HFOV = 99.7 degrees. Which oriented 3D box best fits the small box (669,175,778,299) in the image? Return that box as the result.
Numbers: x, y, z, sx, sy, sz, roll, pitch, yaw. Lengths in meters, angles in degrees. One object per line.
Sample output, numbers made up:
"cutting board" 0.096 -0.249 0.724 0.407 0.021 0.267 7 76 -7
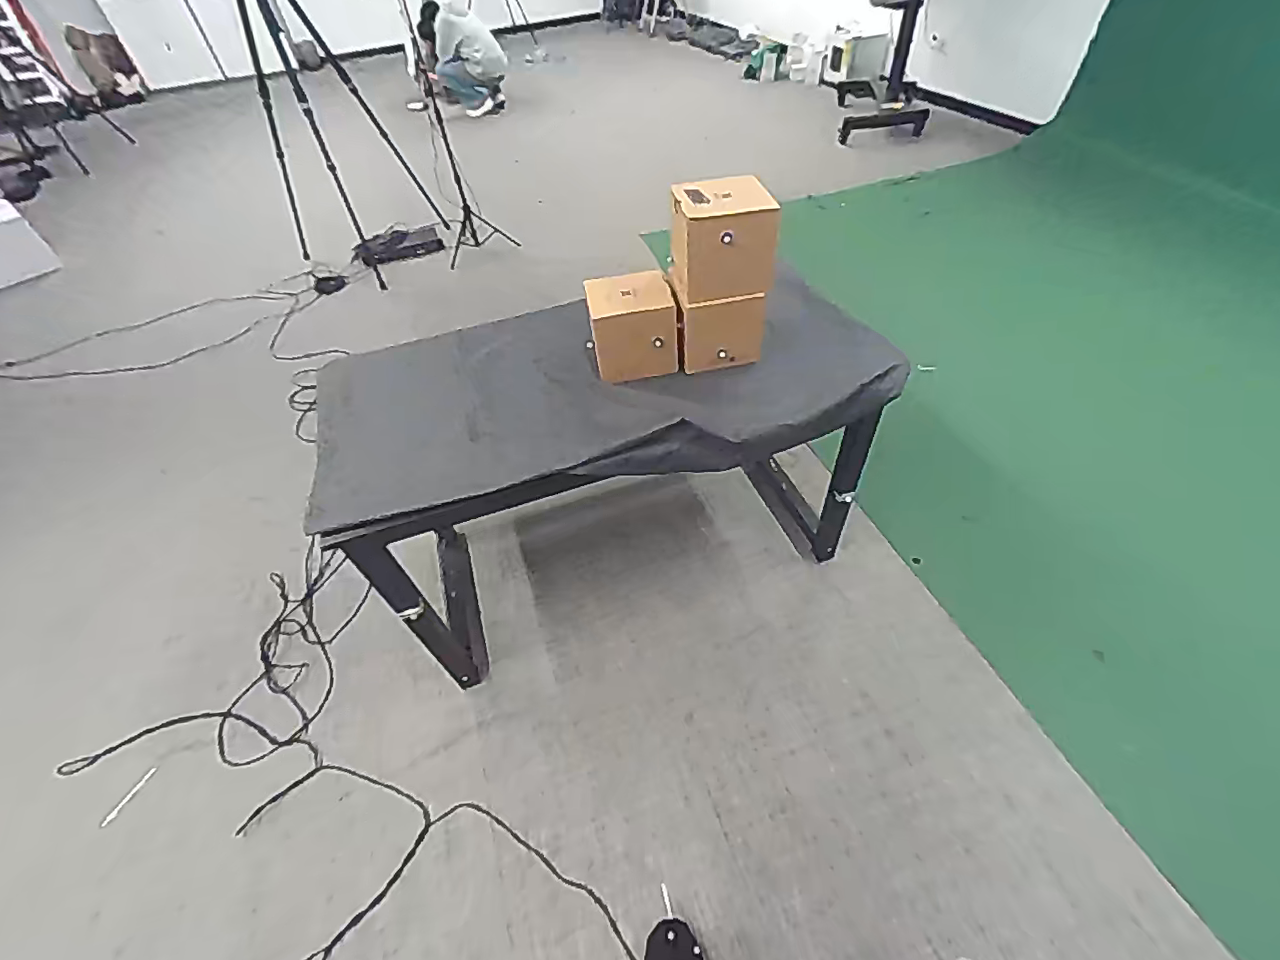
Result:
"small box" 0.161 -0.483 1.086 0.179 0.176 0.168 -10 49 -3
